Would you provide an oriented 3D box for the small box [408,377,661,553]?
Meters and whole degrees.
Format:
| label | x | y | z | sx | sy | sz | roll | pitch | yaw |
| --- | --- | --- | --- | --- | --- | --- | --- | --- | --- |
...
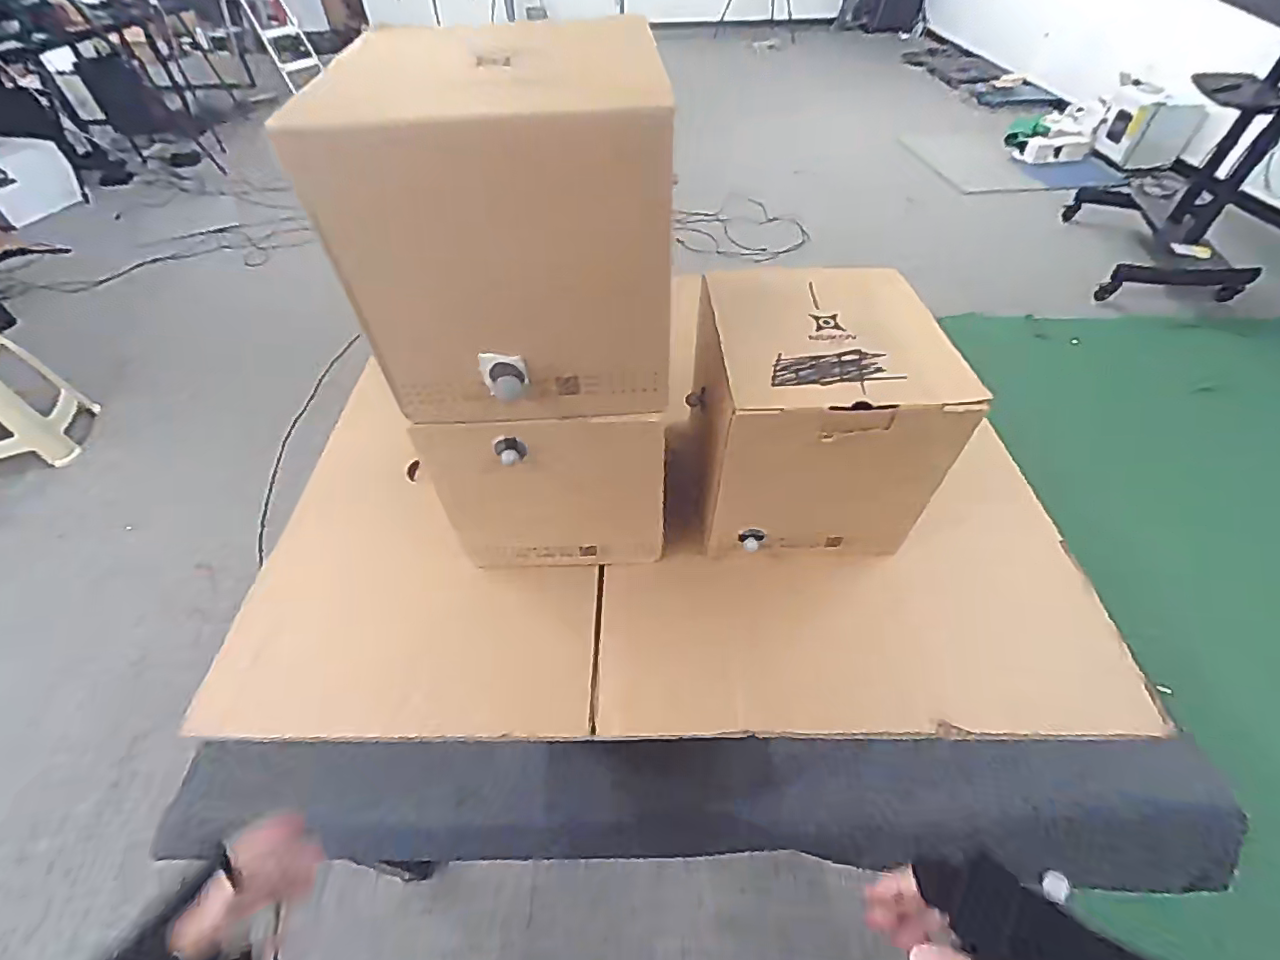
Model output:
| label | x | y | z | sx | sy | sz | roll | pitch | yaw |
| --- | --- | --- | --- | --- | --- | --- | --- | --- | --- |
| small box | -0.067 | -0.056 | 0.464 | 0.168 | 0.176 | 0.179 | -2 | 49 | 2 |

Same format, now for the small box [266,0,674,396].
| label | x | y | z | sx | sy | sz | roll | pitch | yaw |
| --- | --- | --- | --- | --- | --- | --- | --- | --- | --- |
| small box | -0.072 | -0.173 | 0.329 | 0.168 | 0.176 | 0.179 | -4 | 51 | -1 |
